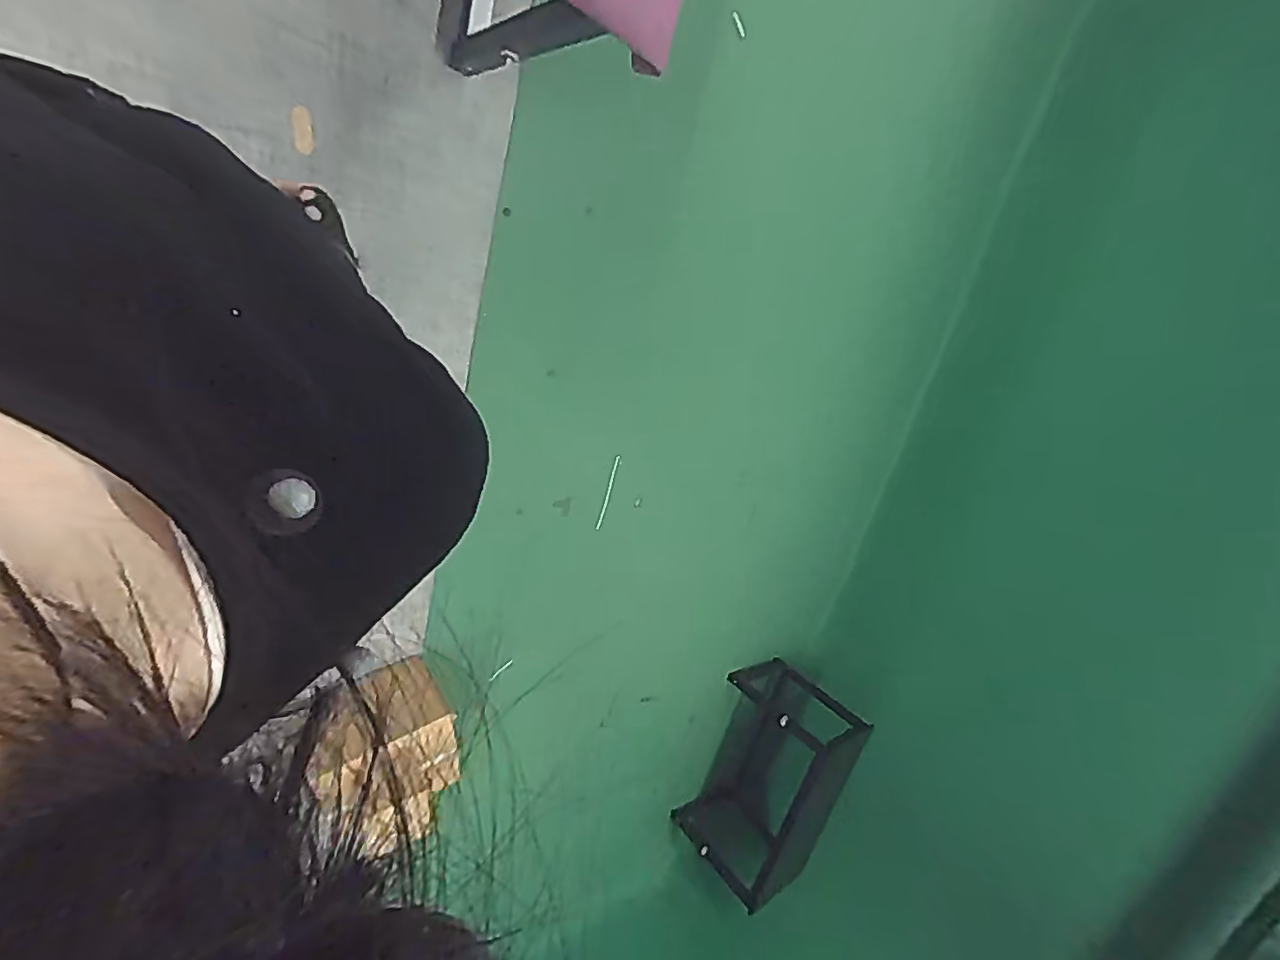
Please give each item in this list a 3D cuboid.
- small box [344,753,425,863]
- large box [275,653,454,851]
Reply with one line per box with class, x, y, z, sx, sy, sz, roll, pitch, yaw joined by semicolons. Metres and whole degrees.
small box;-0.711;0.895;1.500;0.168;0.176;0.179;-10;118;-39
large box;-0.852;0.824;1.695;0.408;0.320;0.320;-17;124;-38
